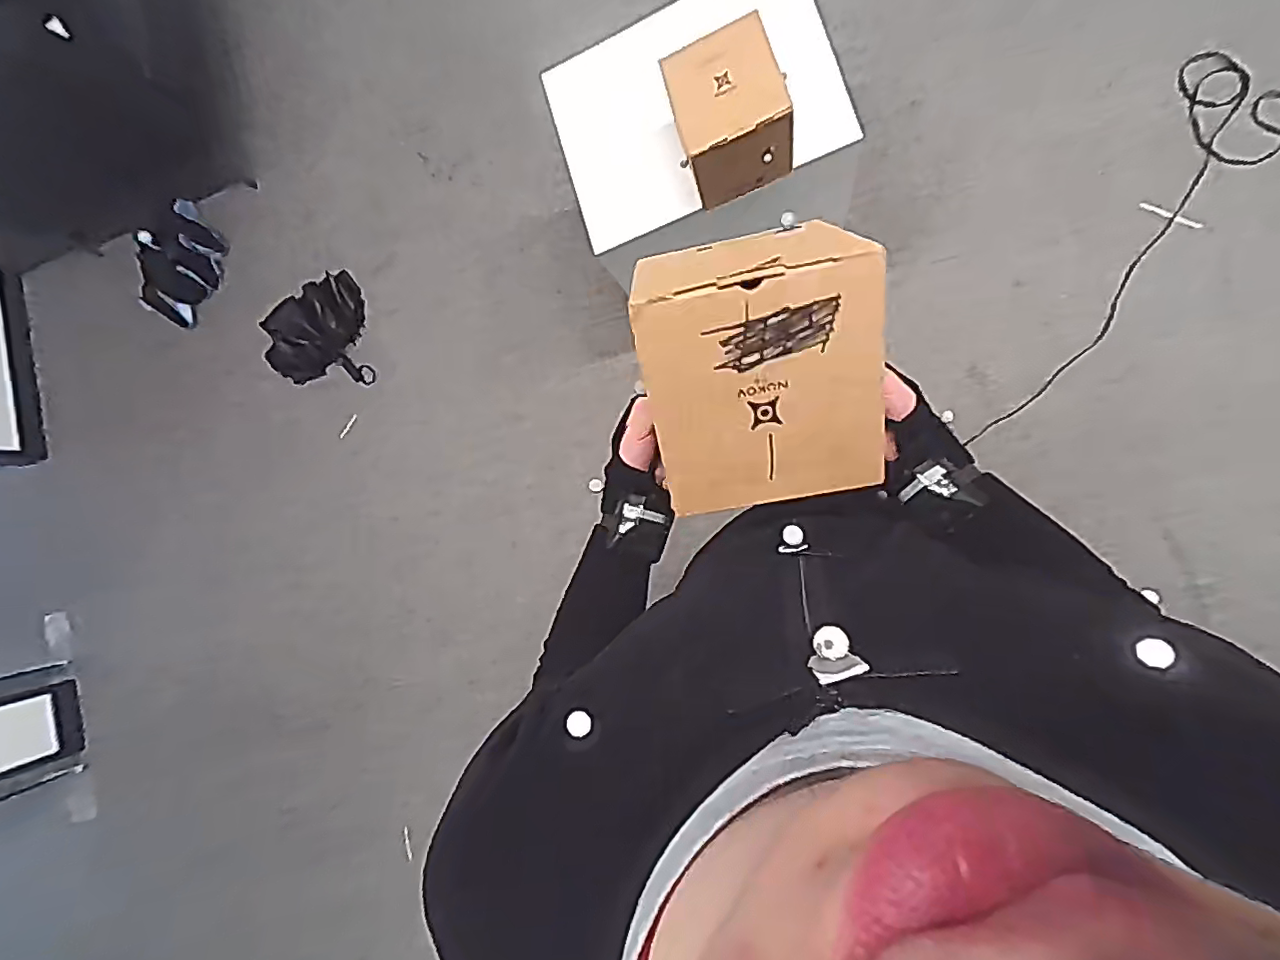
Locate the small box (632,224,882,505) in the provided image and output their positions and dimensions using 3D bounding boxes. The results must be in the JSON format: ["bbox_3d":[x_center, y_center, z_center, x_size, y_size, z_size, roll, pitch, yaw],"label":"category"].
[{"bbox_3d":[0.088,-0.106,0.456,0.168,0.176,0.179,-9,122,7],"label":"small box"}]

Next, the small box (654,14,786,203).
[{"bbox_3d":[0.140,-0.600,0.905,0.168,0.176,0.179,-18,82,12],"label":"small box"}]
